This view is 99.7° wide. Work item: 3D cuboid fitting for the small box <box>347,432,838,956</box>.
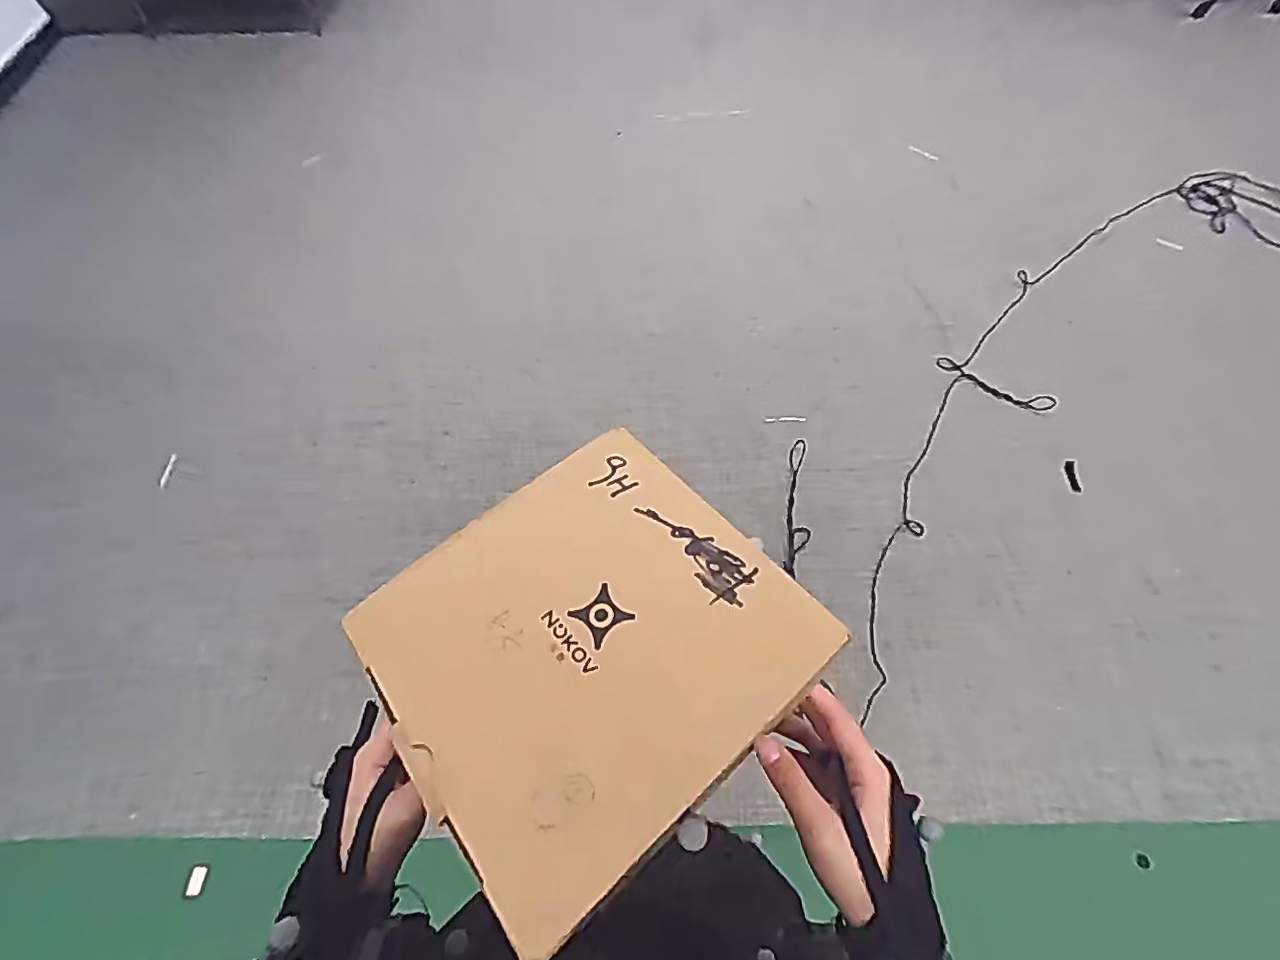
[{"bbox_3d":[-0.020,0.114,0.314,0.179,0.176,0.168,-37,60,-18],"label":"small box"}]
